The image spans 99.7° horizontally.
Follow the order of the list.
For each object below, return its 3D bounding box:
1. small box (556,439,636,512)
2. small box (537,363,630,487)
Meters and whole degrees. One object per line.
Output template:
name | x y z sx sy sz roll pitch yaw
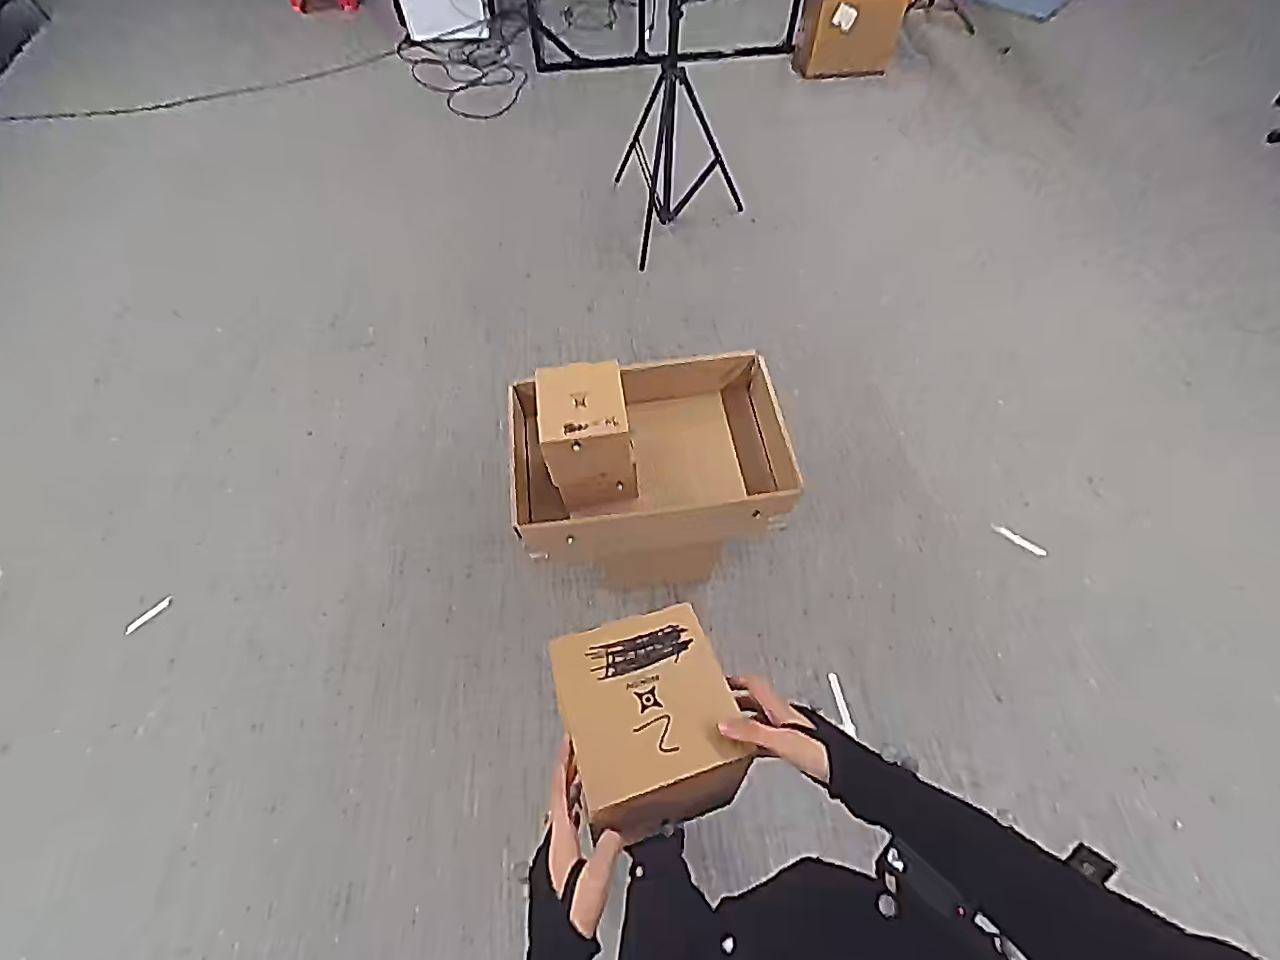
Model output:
small box | -0.109 -0.046 1.239 0.179 0.176 0.168 -12 61 -5
small box | -0.111 -0.108 1.087 0.168 0.176 0.179 -7 60 -2
